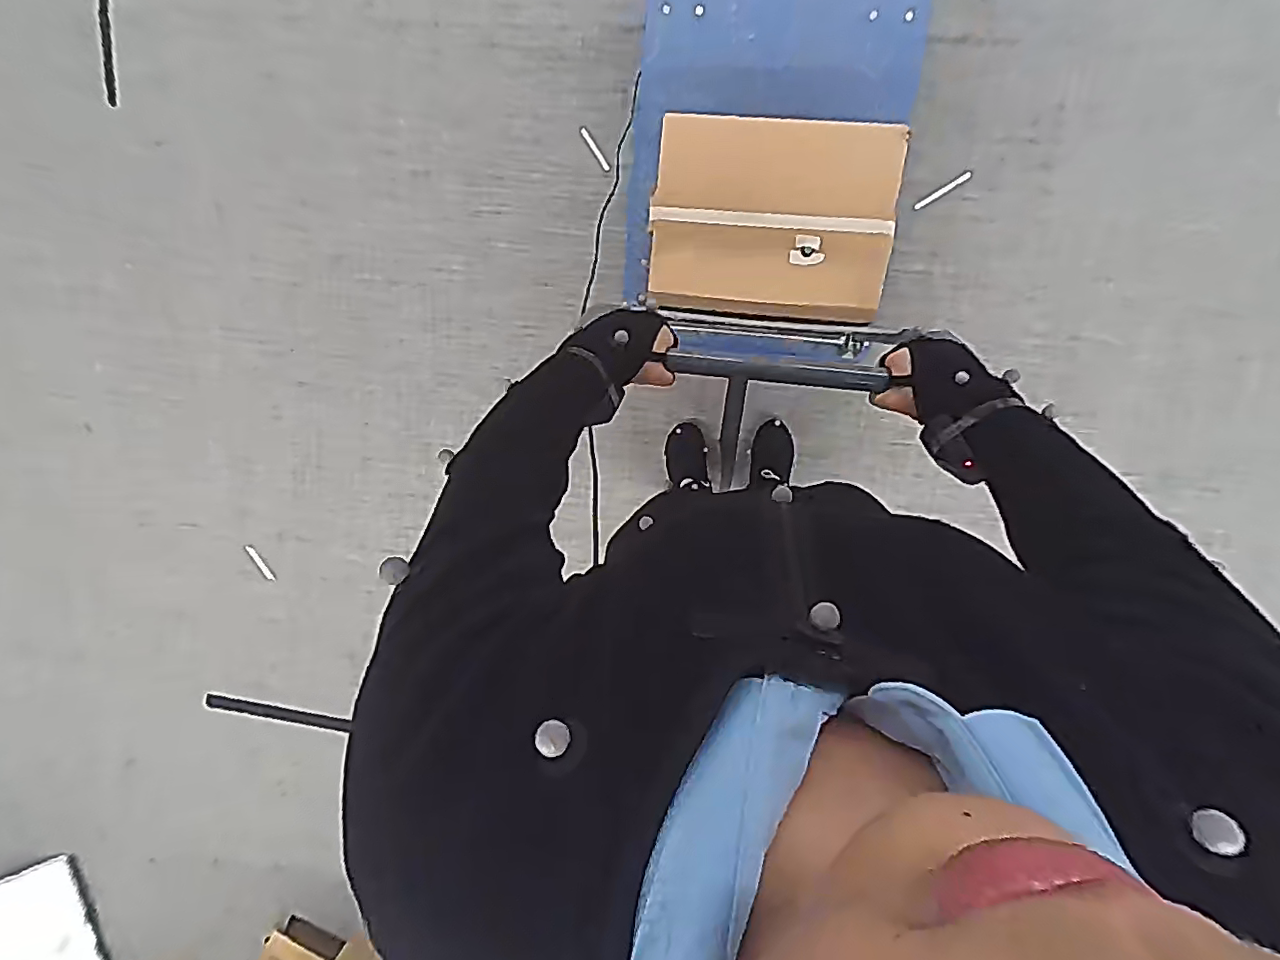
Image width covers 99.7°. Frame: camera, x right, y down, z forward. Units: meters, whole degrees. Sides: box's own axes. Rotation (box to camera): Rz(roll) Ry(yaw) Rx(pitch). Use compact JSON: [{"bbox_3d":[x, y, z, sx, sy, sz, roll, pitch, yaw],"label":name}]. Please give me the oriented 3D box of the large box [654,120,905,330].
[{"bbox_3d":[0.246,-0.481,1.088,0.408,0.320,0.320,6,103,5],"label":"large box"}]
